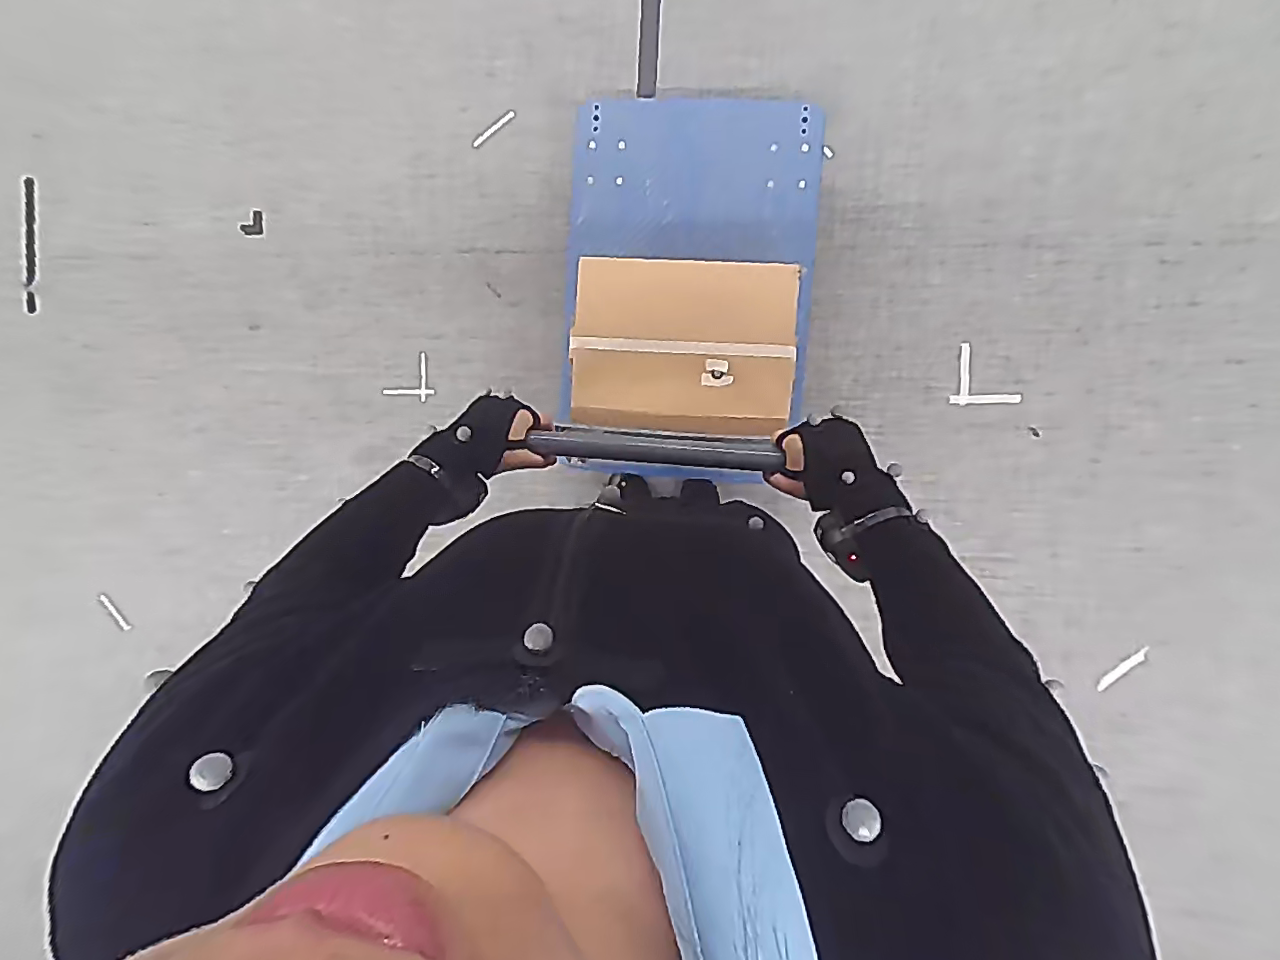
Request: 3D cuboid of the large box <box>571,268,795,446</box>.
[{"bbox_3d":[0.083,-0.235,1.135,0.408,0.320,0.320,4,94,4],"label":"large box"}]
